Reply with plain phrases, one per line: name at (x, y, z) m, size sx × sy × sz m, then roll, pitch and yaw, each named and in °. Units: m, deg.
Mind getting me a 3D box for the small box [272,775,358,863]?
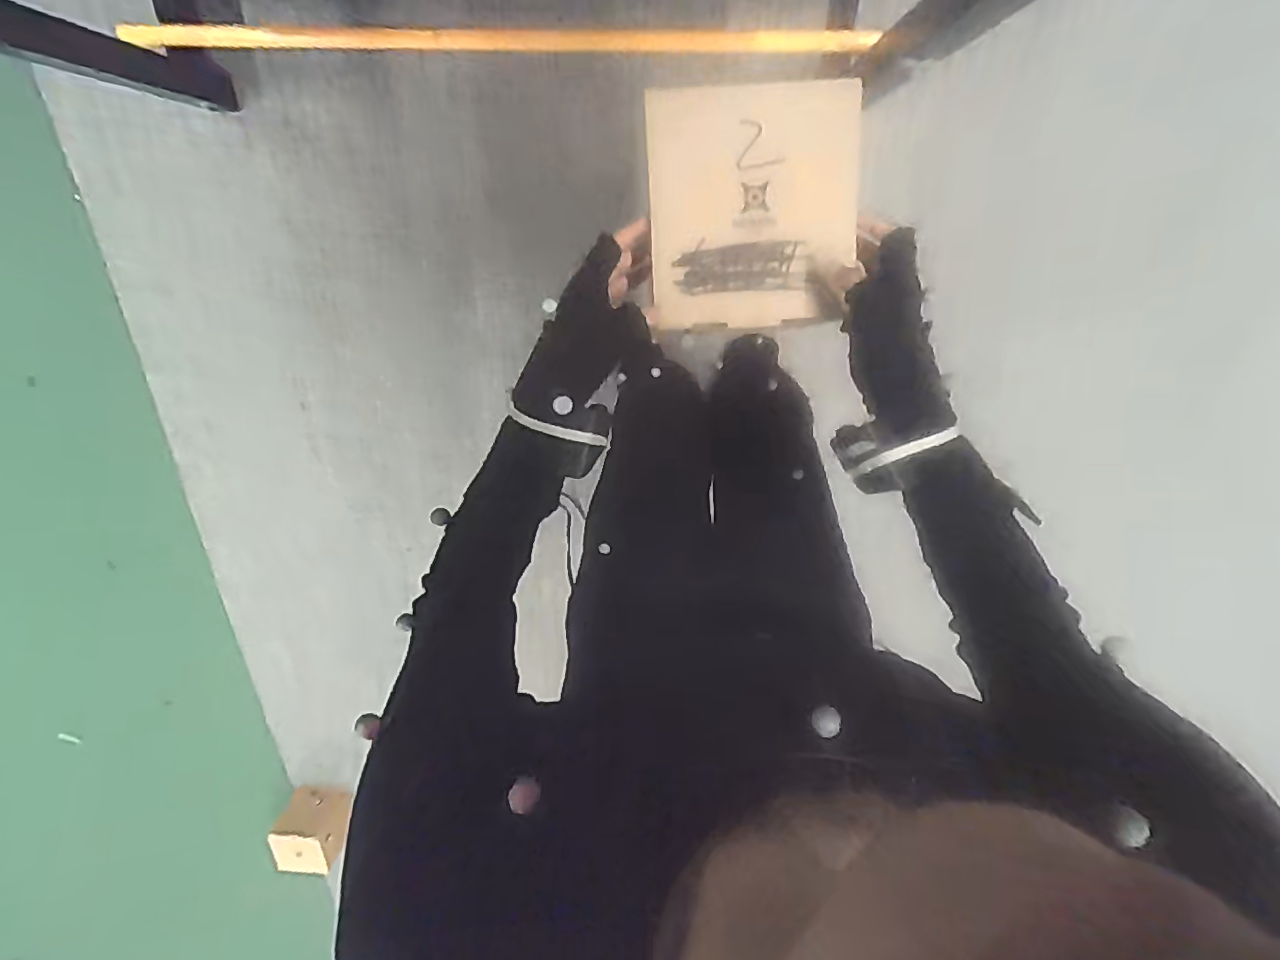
small box at (-1.042, 1.096, 1.752) m, size 0.168 × 0.176 × 0.179 m, roll 4°, pitch 114°, yaw 1°
